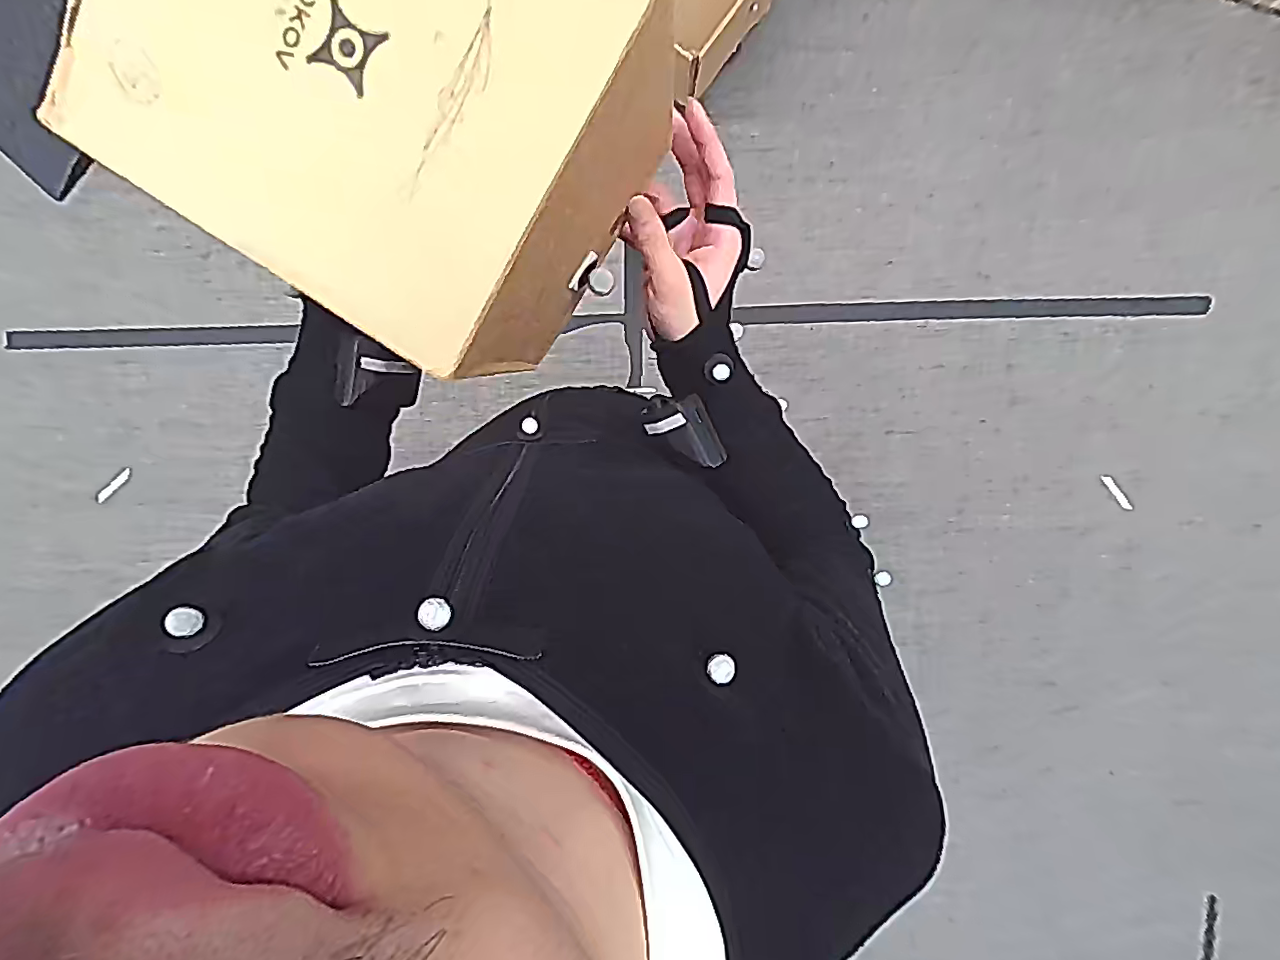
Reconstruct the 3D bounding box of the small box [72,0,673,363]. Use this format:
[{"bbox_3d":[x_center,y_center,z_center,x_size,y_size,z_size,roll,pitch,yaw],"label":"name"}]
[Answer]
[{"bbox_3d":[-0.100,-0.173,0.278,0.179,0.176,0.168,32,102,-5],"label":"small box"}]
